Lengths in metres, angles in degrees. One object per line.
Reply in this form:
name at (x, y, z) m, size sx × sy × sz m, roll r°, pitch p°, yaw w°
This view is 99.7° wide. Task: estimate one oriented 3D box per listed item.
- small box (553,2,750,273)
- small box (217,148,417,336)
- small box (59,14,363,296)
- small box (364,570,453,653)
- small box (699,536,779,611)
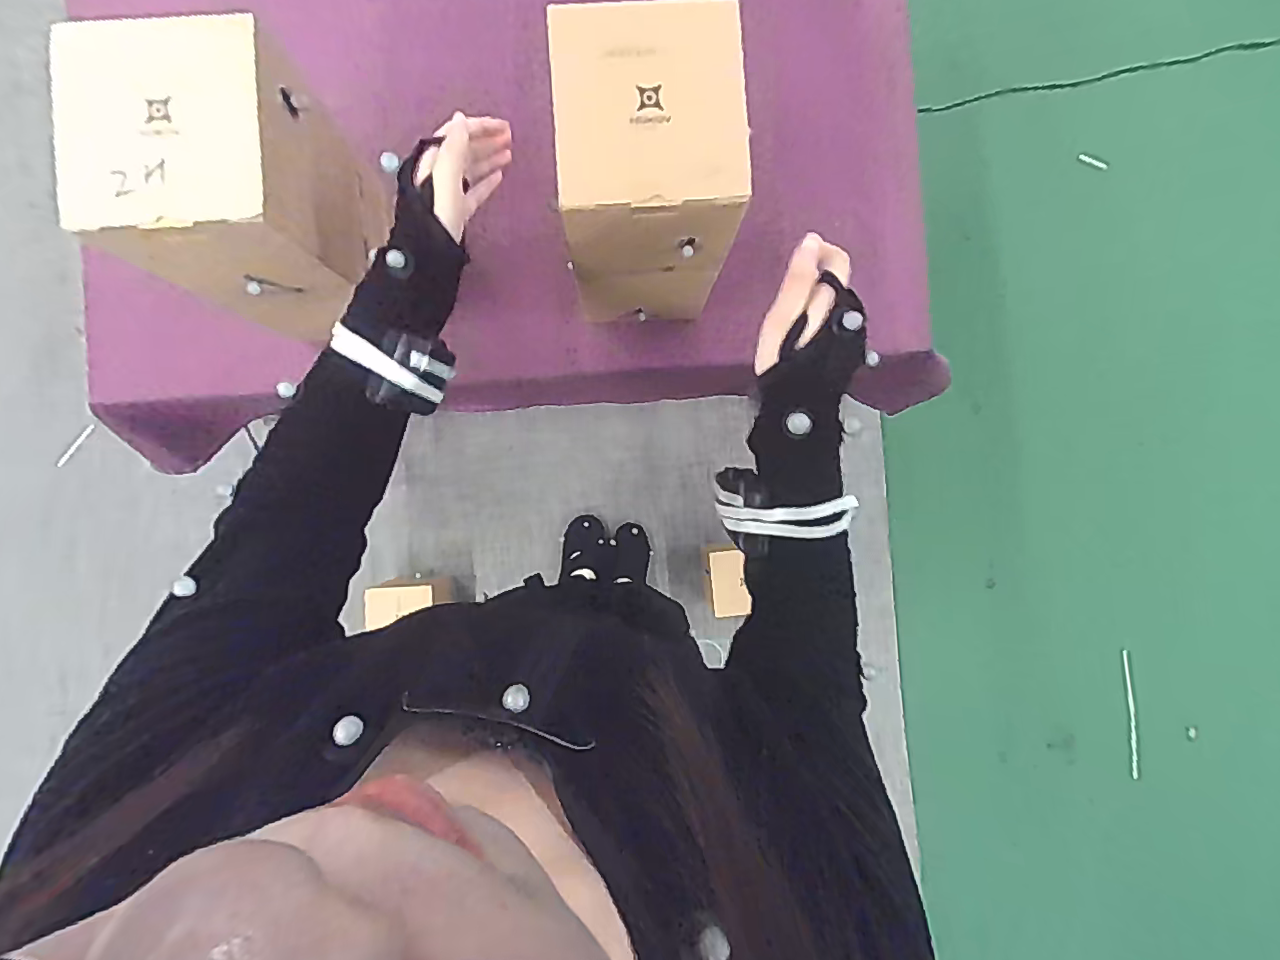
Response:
small box at (0.009, -0.320, 0.542) m, size 0.168 × 0.176 × 0.179 m, roll -4°, pitch 90°, yaw -2°
small box at (-0.399, -0.291, 0.691) m, size 0.179 × 0.176 × 0.168 m, roll -5°, pitch 89°, yaw -3°
small box at (-0.393, -0.297, 0.526) m, size 0.168 × 0.176 × 0.179 m, roll -4°, pitch 90°, yaw -2°
small box at (-0.596, 0.337, 1.411) m, size 0.168 × 0.176 × 0.179 m, roll -3°, pitch 89°, yaw -2°
small box at (0.256, 0.244, 1.443) m, size 0.179 × 0.176 × 0.168 m, roll -6°, pitch 90°, yaw -3°
